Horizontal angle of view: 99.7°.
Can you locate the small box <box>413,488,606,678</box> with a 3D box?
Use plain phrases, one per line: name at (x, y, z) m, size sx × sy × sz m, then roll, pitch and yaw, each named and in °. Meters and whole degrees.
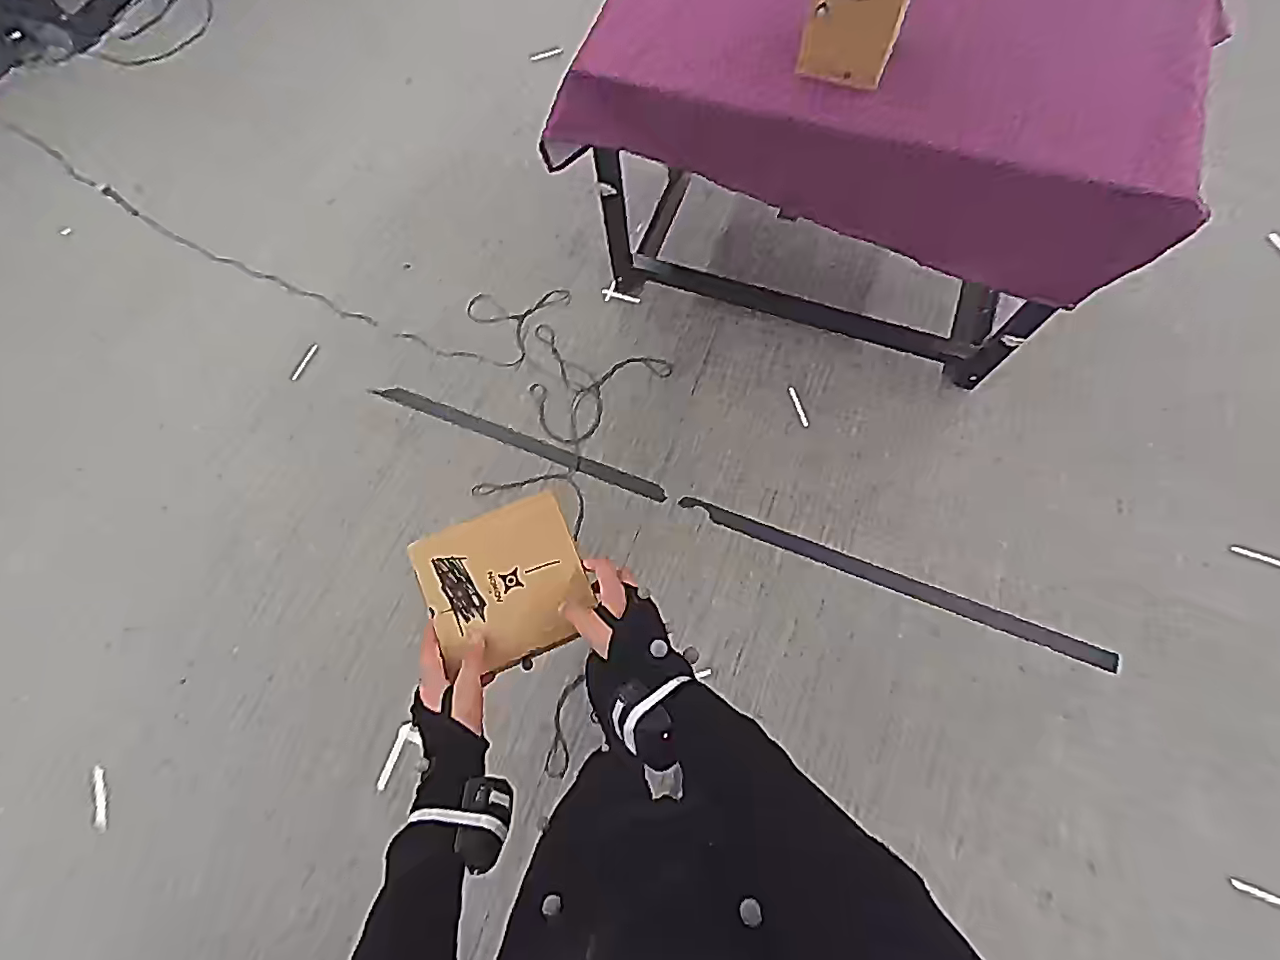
small box at (-0.150, 0.134, 0.677) m, size 0.179 × 0.176 × 0.168 m, roll -21°, pitch 75°, yaw -9°
